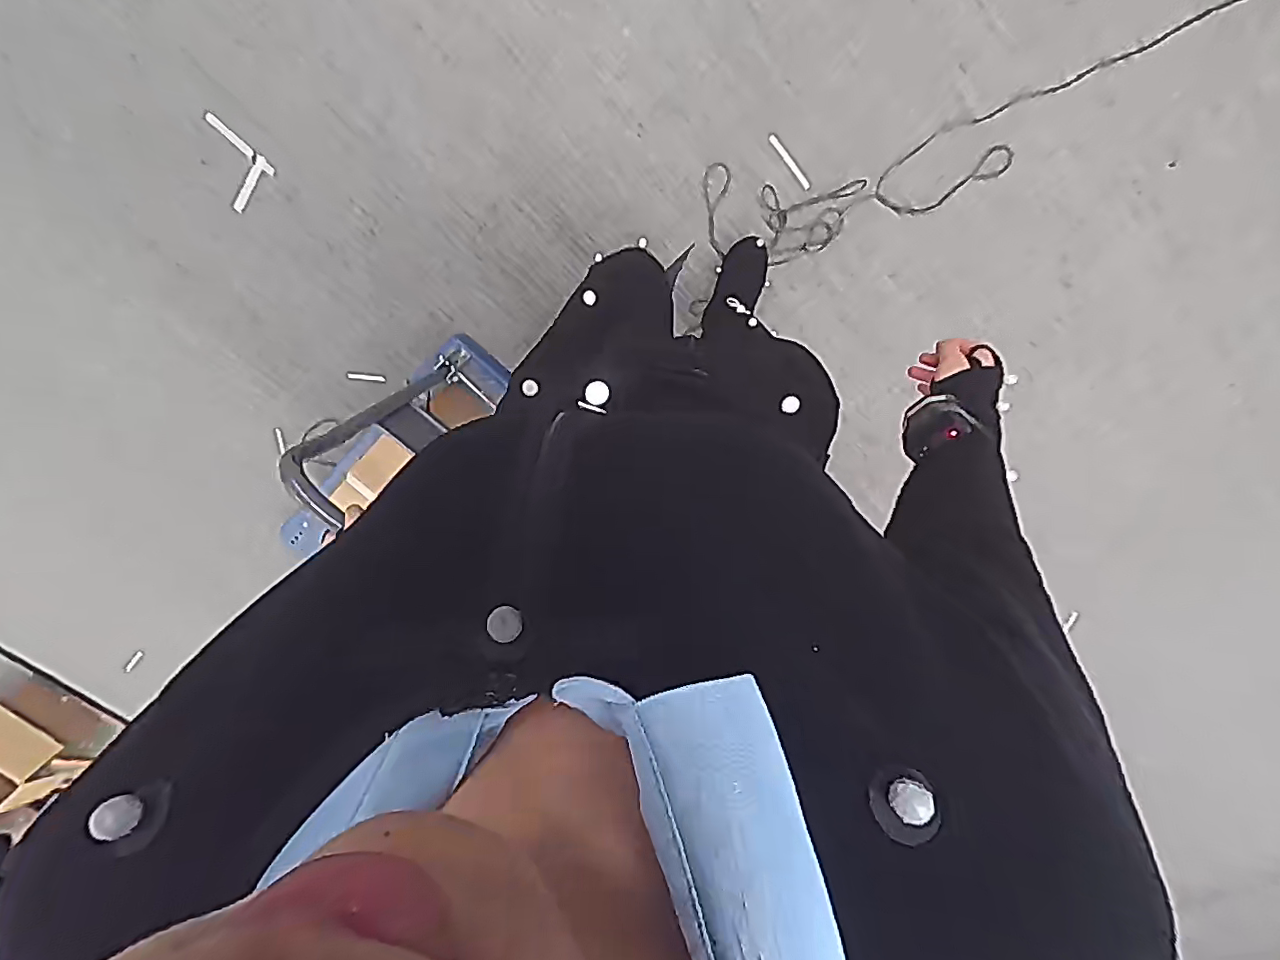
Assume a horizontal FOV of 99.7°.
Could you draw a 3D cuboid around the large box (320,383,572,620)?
[{"bbox_3d":[-0.432,0.046,1.293,0.320,0.320,0.408,-39,106,21],"label":"large box"}]
